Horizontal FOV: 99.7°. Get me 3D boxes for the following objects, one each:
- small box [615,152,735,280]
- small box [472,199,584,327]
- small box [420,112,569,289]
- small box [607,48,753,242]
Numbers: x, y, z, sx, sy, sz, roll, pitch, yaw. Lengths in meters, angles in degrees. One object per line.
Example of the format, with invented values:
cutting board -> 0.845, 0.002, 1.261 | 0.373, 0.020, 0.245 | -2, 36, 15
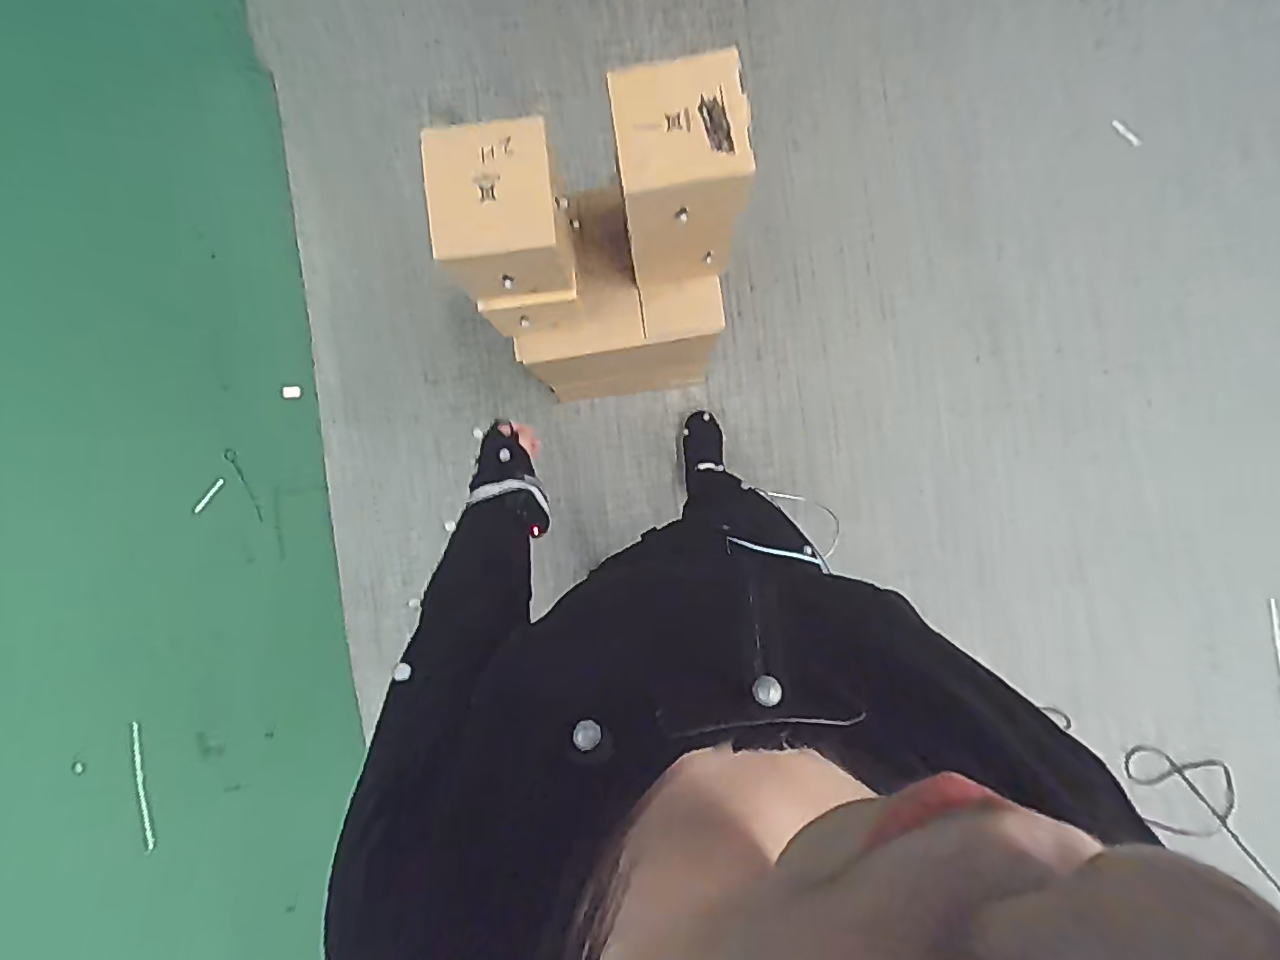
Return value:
small box -> 0.058, -0.469, 0.946 | 0.179, 0.176, 0.168 | -9, 90, 3
small box -> -0.195, -0.377, 0.951 | 0.168, 0.176, 0.179 | -7, 90, 0
small box -> -0.200, -0.389, 0.786 | 0.168, 0.176, 0.179 | -5, 90, 0
small box -> 0.055, -0.468, 0.781 | 0.179, 0.176, 0.168 | -7, 90, 3
